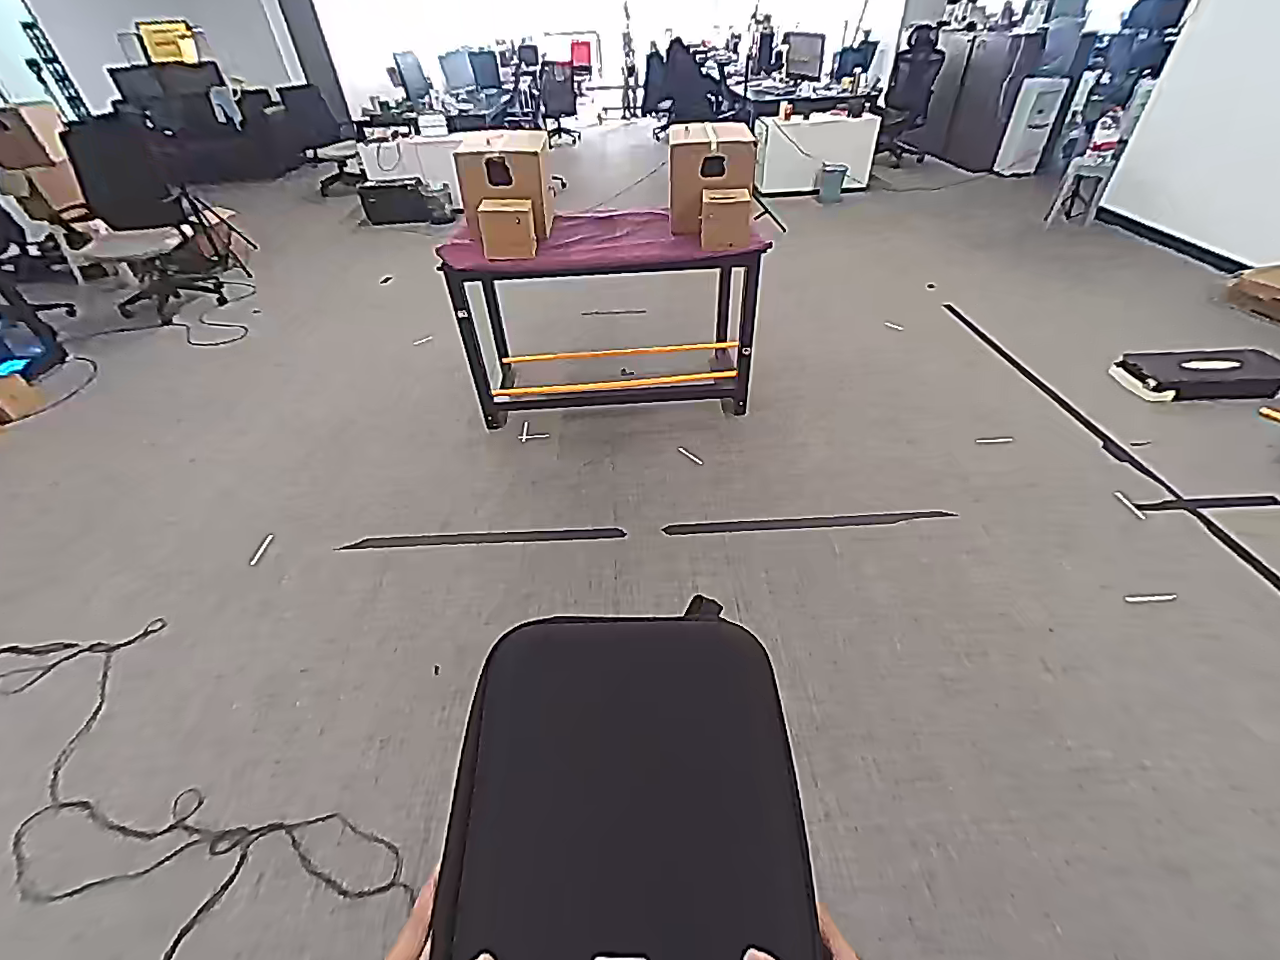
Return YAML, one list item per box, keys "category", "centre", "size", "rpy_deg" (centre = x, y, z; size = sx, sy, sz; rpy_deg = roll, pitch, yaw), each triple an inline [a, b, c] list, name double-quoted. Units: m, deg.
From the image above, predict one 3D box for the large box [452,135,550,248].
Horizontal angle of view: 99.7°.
- category: "large box"
  centre: [-0.541, -1.175, 2.189]
  size: [0.320, 0.320, 0.408]
  rpy_deg: [-3, 43, -2]
